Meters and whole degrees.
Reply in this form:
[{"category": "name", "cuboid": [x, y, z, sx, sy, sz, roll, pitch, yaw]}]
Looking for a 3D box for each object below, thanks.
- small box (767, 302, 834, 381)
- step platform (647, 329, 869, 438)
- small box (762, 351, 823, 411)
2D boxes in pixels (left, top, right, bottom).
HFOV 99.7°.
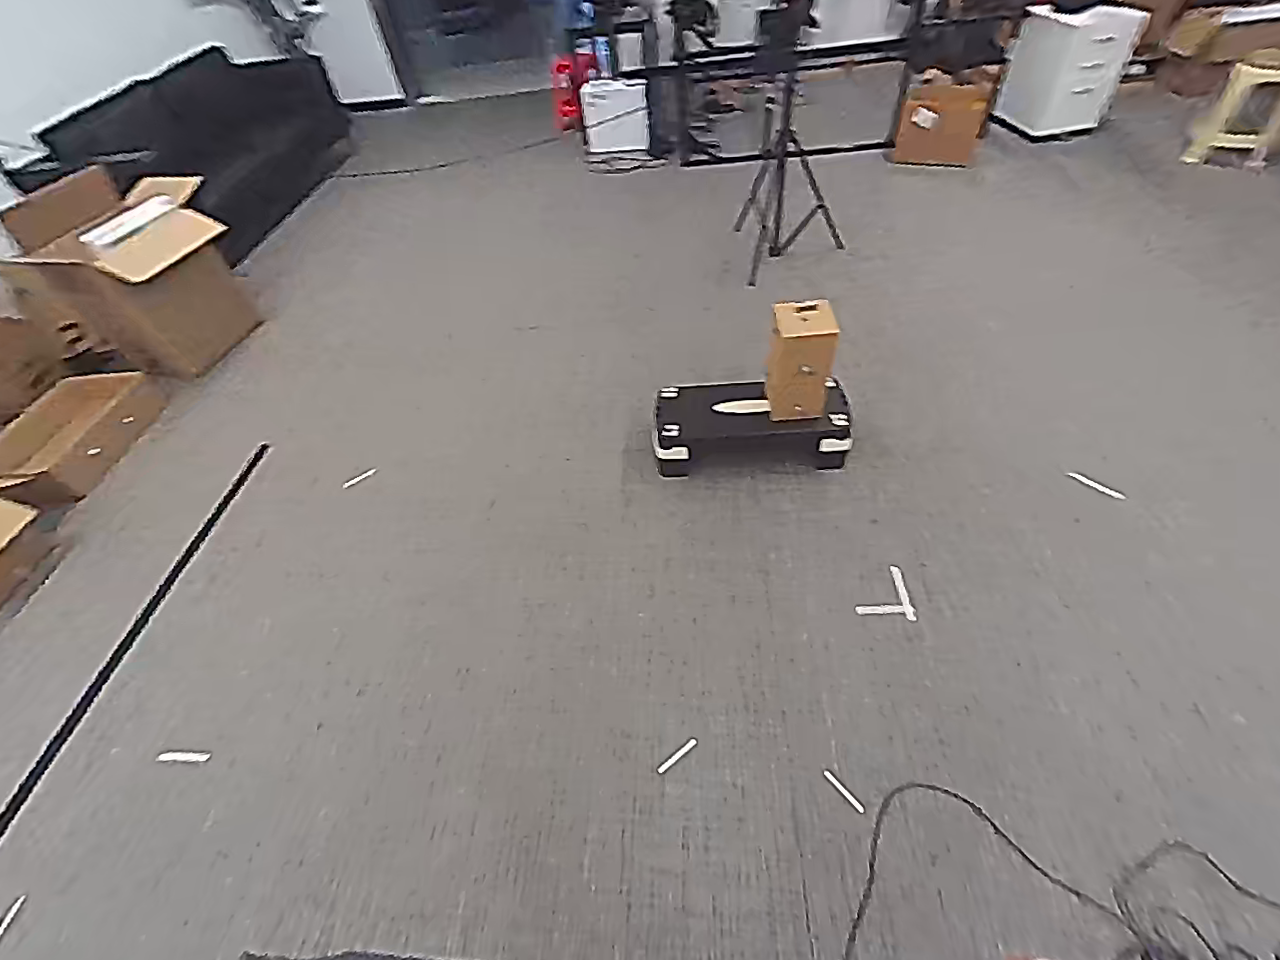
[{"category": "small box", "cuboid": [0.496, -0.433, 1.701, 0.168, 0.176, 0.179, -5, 50, 5]}, {"category": "step platform", "cuboid": [0.371, -0.311, 1.785, 0.684, 0.204, 0.286, -3, 49, 5]}, {"category": "small box", "cuboid": [0.505, -0.324, 1.824, 0.168, 0.176, 0.179, -4, 50, 5]}]
